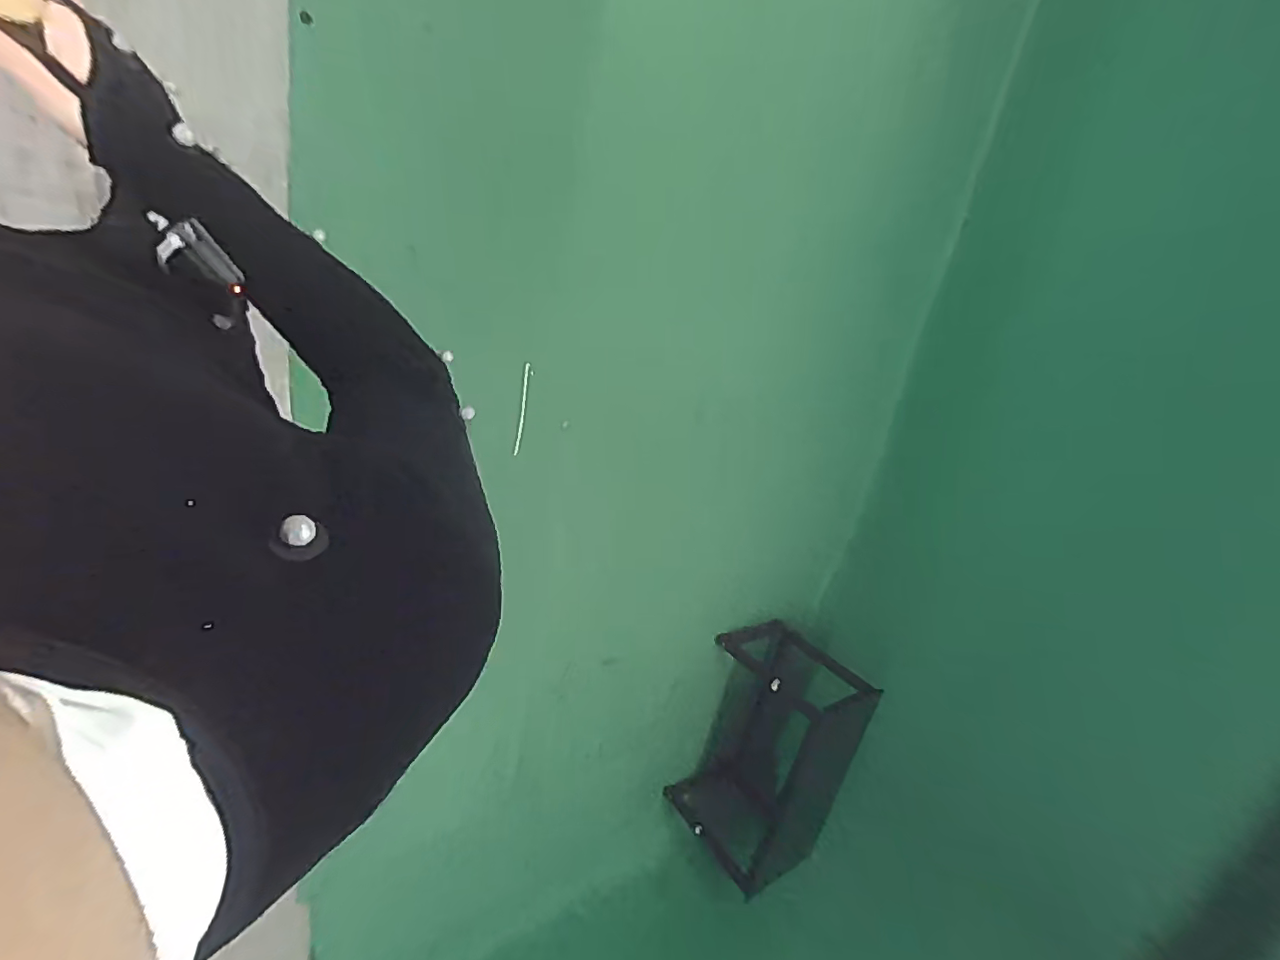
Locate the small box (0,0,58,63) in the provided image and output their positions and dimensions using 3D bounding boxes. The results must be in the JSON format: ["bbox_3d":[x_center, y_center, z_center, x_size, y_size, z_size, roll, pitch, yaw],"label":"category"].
[{"bbox_3d":[-0.528,-0.422,0.361,0.168,0.176,0.179,-12,117,-41],"label":"small box"}]
